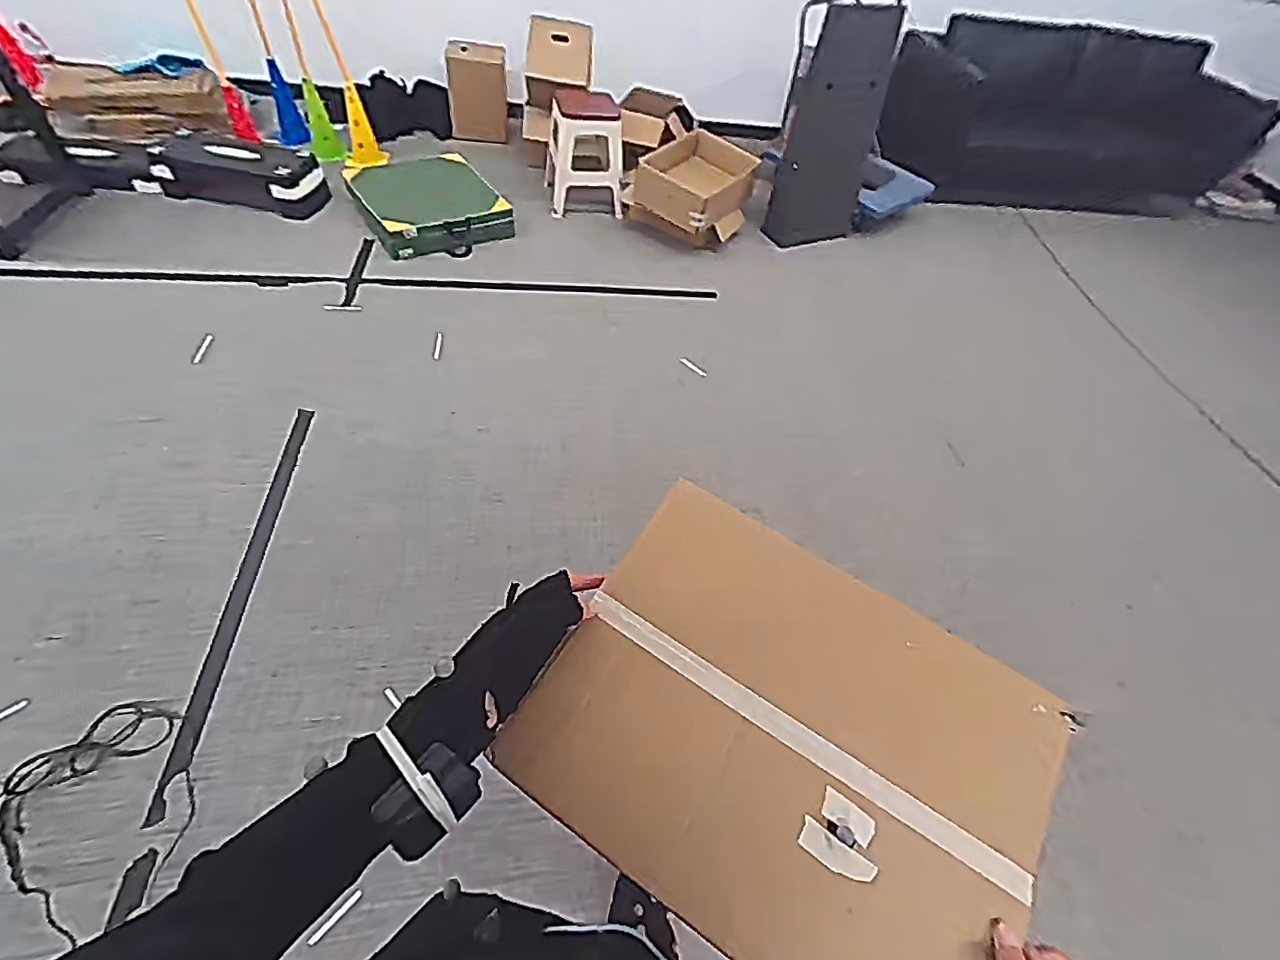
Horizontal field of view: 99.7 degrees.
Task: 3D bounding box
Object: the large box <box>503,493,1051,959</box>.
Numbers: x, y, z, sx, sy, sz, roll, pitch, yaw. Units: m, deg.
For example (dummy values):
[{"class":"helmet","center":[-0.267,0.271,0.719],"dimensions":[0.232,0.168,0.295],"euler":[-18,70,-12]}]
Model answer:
[{"class":"large box","center":[0.120,0.287,0.603],"dimensions":[0.408,0.320,0.320],"euler":[31,65,13]}]
